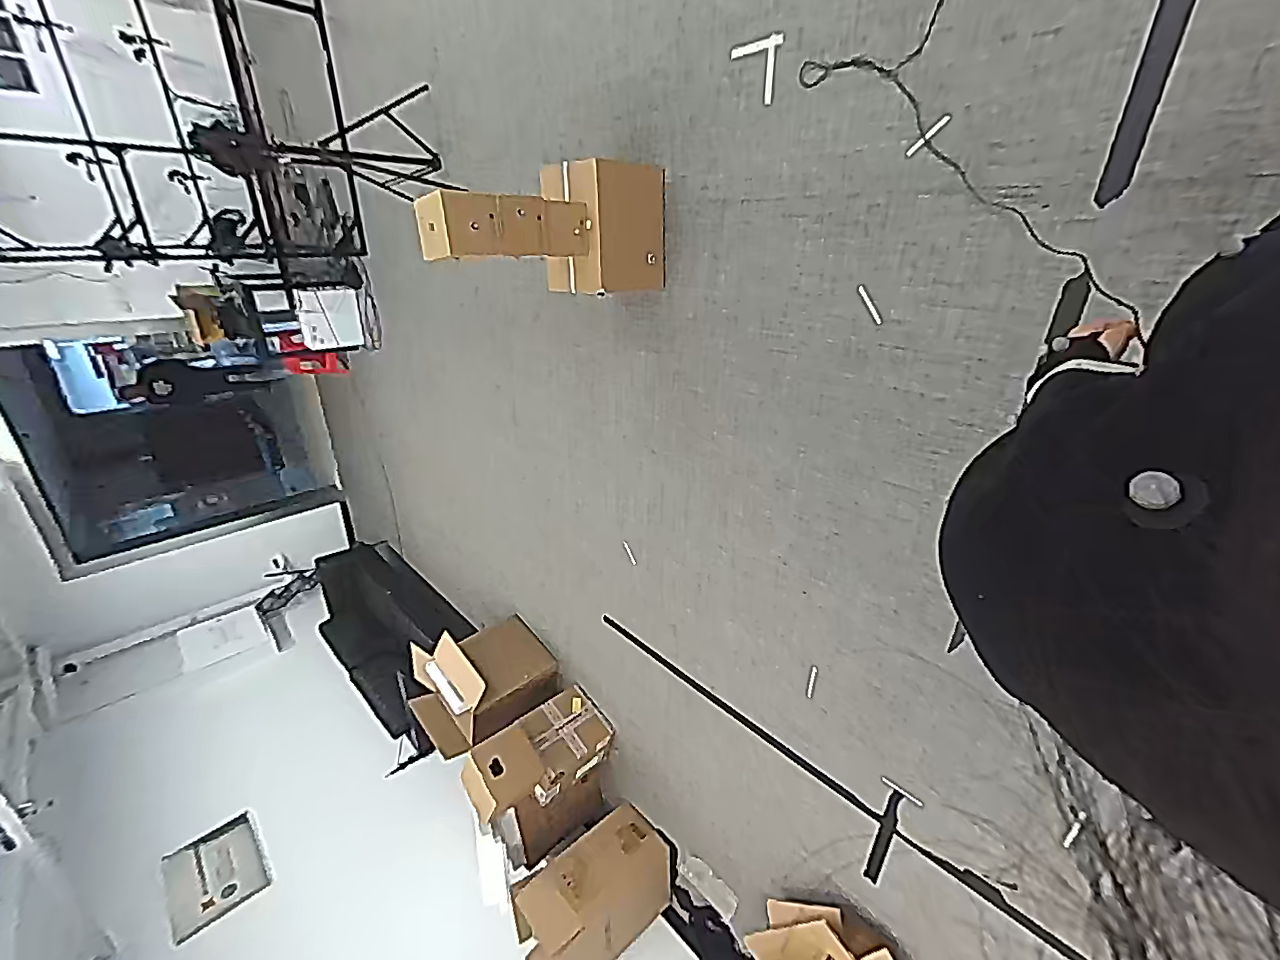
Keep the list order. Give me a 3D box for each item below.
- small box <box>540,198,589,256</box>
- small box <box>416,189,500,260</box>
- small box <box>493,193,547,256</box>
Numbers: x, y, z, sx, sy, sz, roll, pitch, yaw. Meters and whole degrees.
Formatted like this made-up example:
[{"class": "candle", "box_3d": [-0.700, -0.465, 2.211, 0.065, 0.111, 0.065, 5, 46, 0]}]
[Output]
[{"class": "small box", "box_3d": [-0.285, -0.828, 1.778, 0.179, 0.176, 0.168, 21, 121, 41]}, {"class": "small box", "box_3d": [-0.519, -0.735, 1.569, 0.179, 0.176, 0.168, 14, 116, 44]}, {"class": "small box", "box_3d": [-0.398, -0.785, 1.670, 0.179, 0.176, 0.168, 20, 120, 43]}]
